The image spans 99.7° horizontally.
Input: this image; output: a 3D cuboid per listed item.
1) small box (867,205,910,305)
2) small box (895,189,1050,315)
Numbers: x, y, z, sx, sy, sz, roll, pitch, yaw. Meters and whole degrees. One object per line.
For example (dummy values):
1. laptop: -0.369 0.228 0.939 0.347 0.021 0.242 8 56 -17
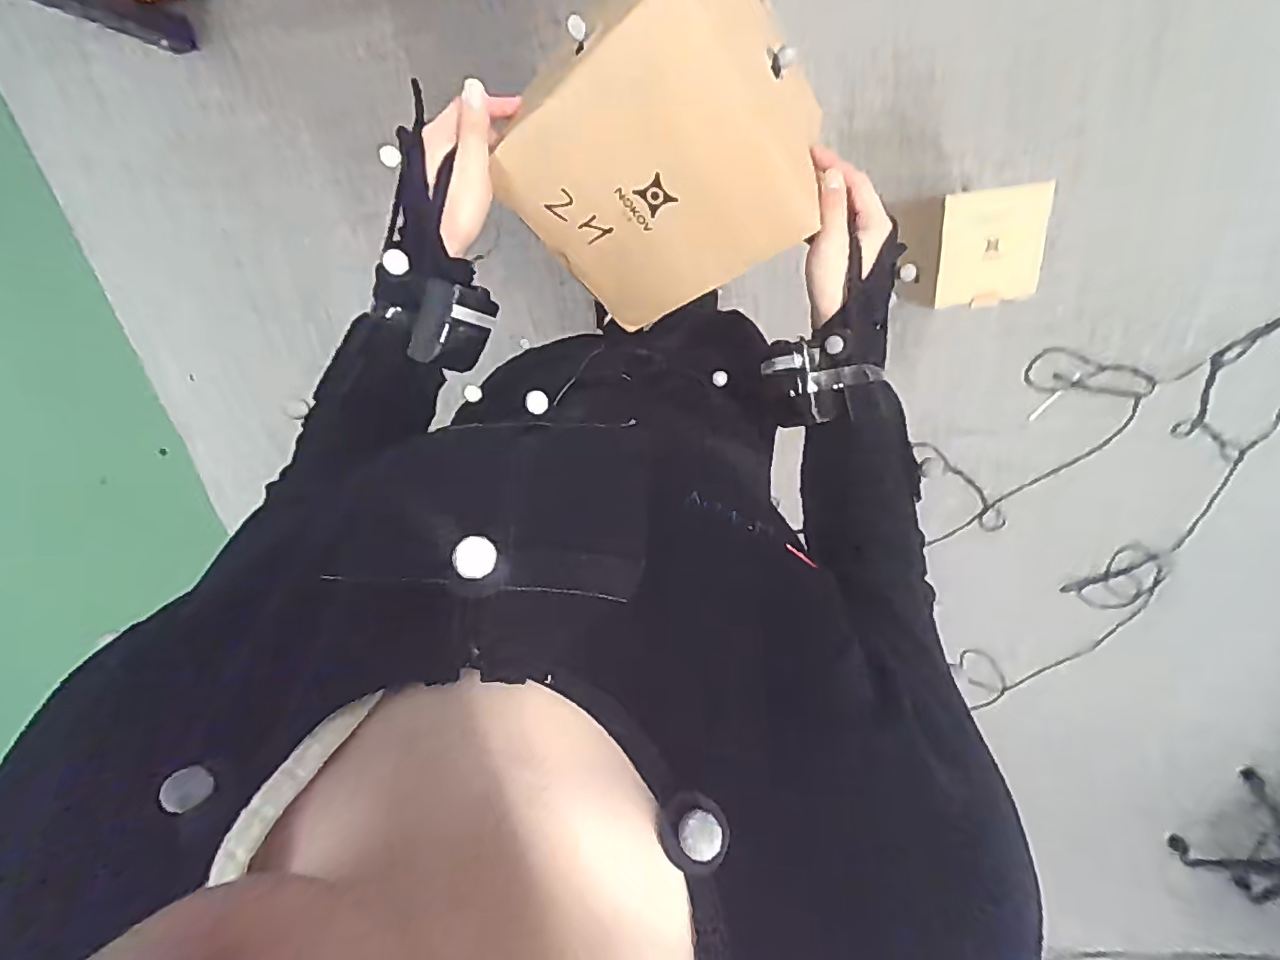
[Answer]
1. small box: 0.576 -0.463 1.098 0.168 0.176 0.179 -3 115 4
2. small box: 0.566 -0.398 0.949 0.168 0.176 0.179 -6 113 4
